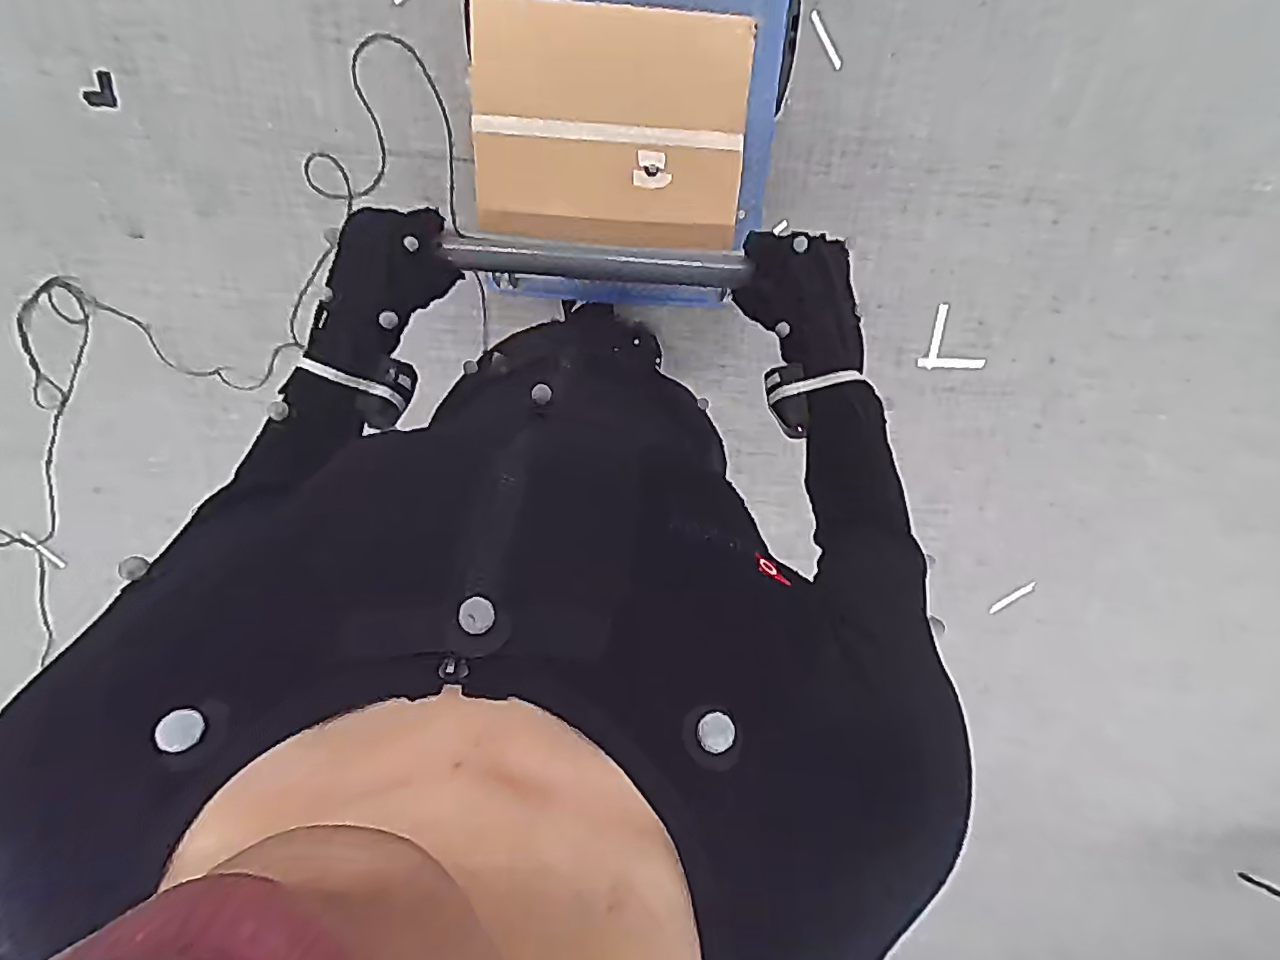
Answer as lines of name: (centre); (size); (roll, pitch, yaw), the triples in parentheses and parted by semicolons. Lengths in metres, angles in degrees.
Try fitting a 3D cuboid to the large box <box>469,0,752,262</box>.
large box: (-0.052, -0.561, 0.943); (0.408, 0.320, 0.320); (3, 110, -3)
